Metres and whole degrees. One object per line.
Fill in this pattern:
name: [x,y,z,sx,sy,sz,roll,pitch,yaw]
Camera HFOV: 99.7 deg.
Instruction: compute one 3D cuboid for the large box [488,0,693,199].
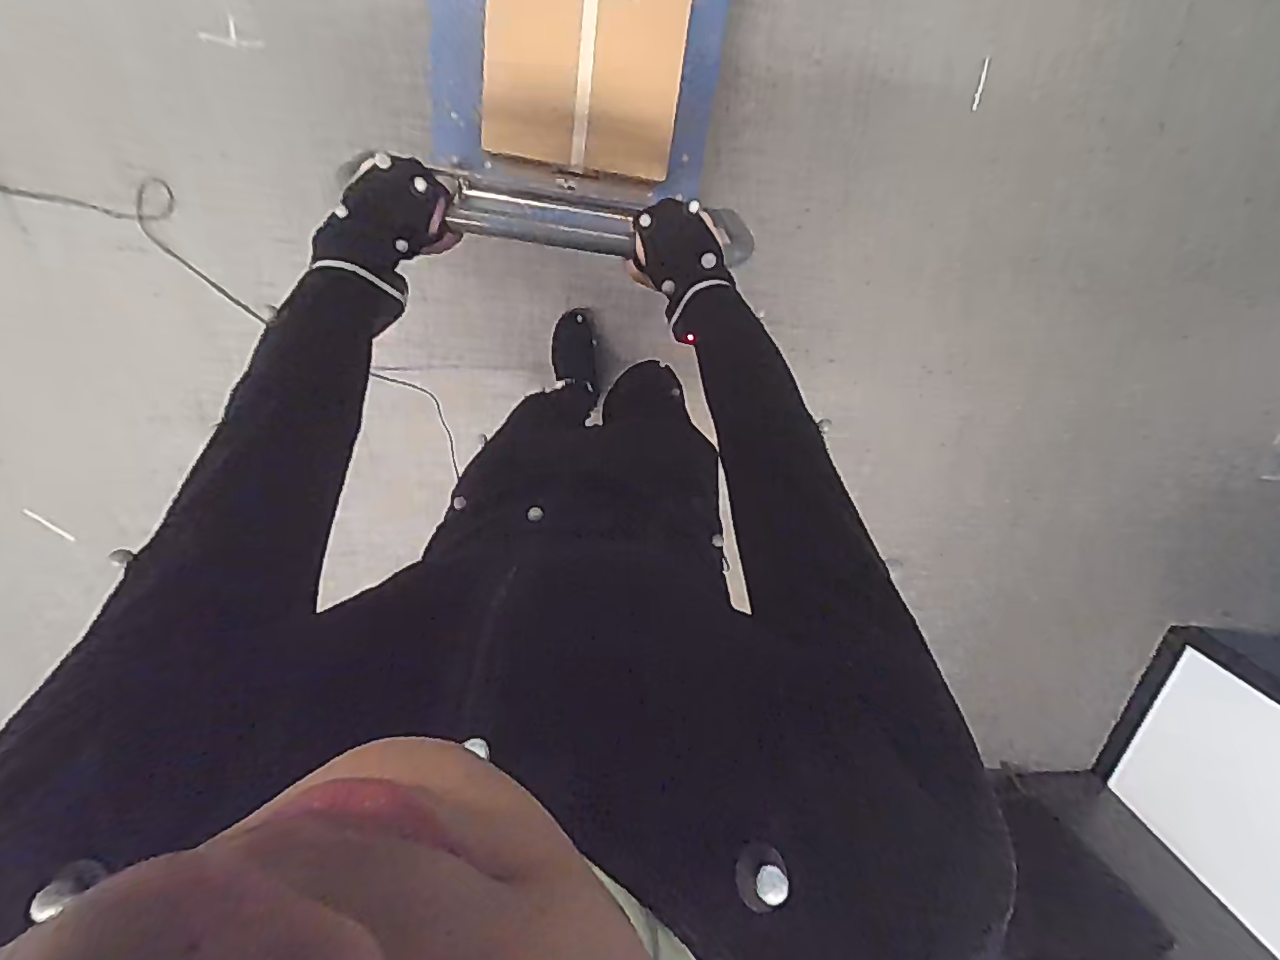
large box: [-0.089,-0.768,0.985,0.320,0.320,0.408,5,111,-9]
